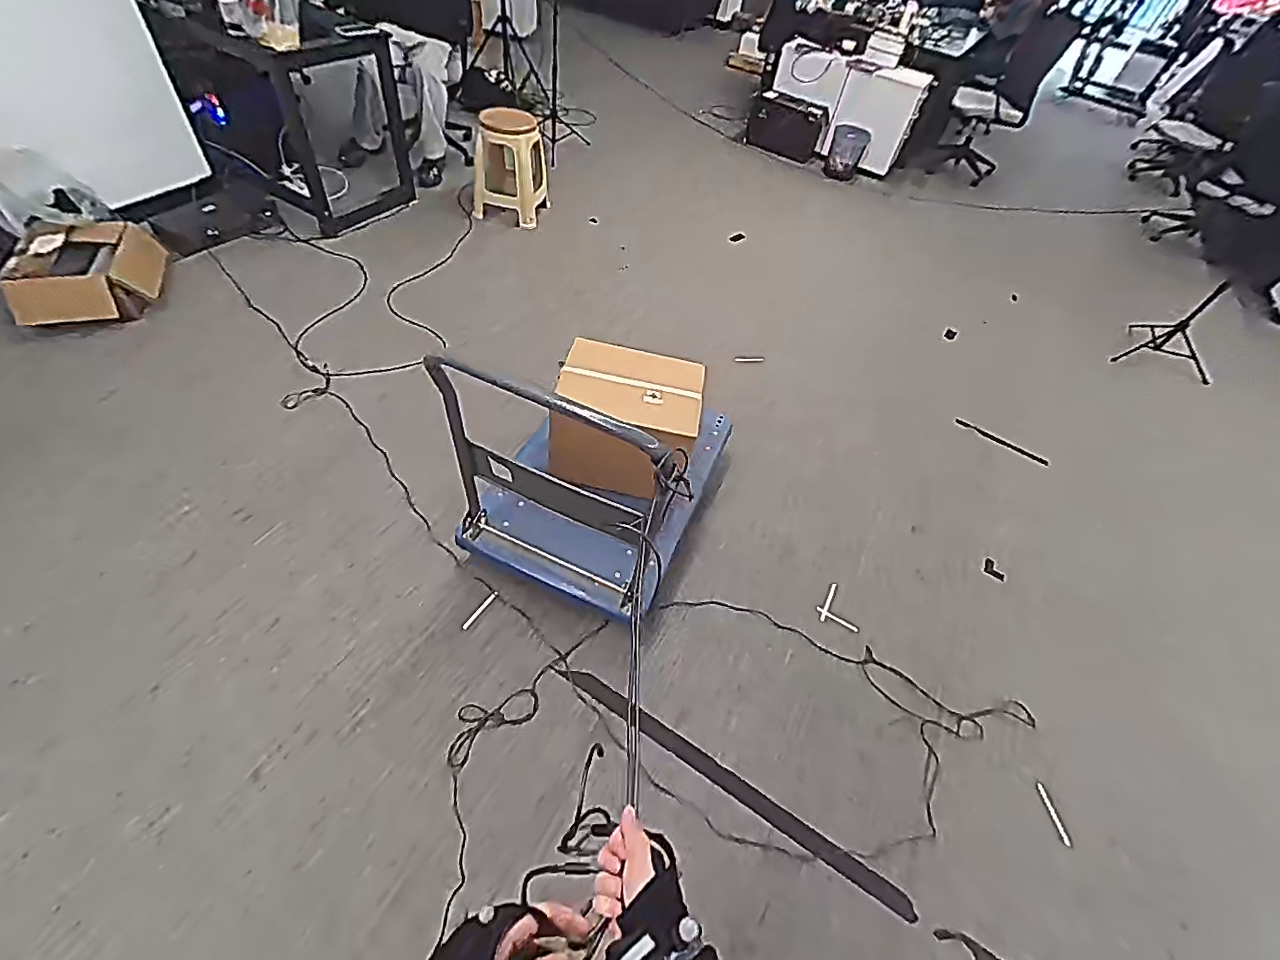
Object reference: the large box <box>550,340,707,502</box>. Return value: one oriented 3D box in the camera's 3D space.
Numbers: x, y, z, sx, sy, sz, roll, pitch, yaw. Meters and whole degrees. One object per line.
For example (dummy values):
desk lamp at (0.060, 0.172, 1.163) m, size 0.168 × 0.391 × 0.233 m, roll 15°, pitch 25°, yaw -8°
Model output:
large box at (-0.040, -0.173, 1.634) m, size 0.408 × 0.320 × 0.320 m, roll 13°, pitch 52°, yaw 0°
